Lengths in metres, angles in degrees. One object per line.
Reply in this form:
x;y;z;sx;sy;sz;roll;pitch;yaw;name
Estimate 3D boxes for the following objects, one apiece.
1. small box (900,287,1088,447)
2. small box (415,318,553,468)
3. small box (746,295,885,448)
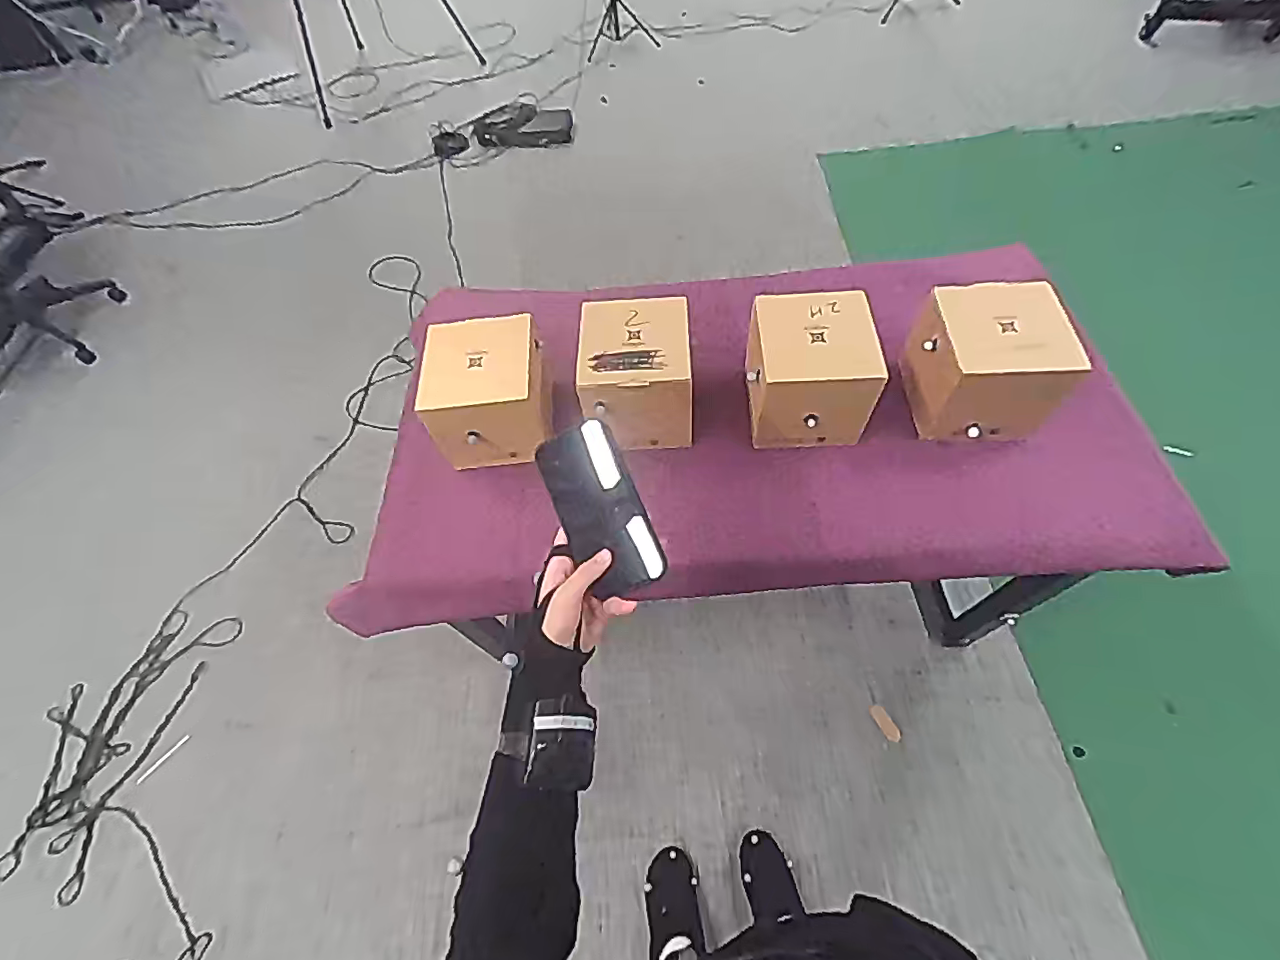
0.520;-0.170;0.829;0.168;0.176;0.179;0;59;6;small box
-0.239;-0.132;0.876;0.168;0.176;0.179;-7;58;2;small box
0.260;-0.162;0.847;0.168;0.176;0.179;-1;58;4;small box
